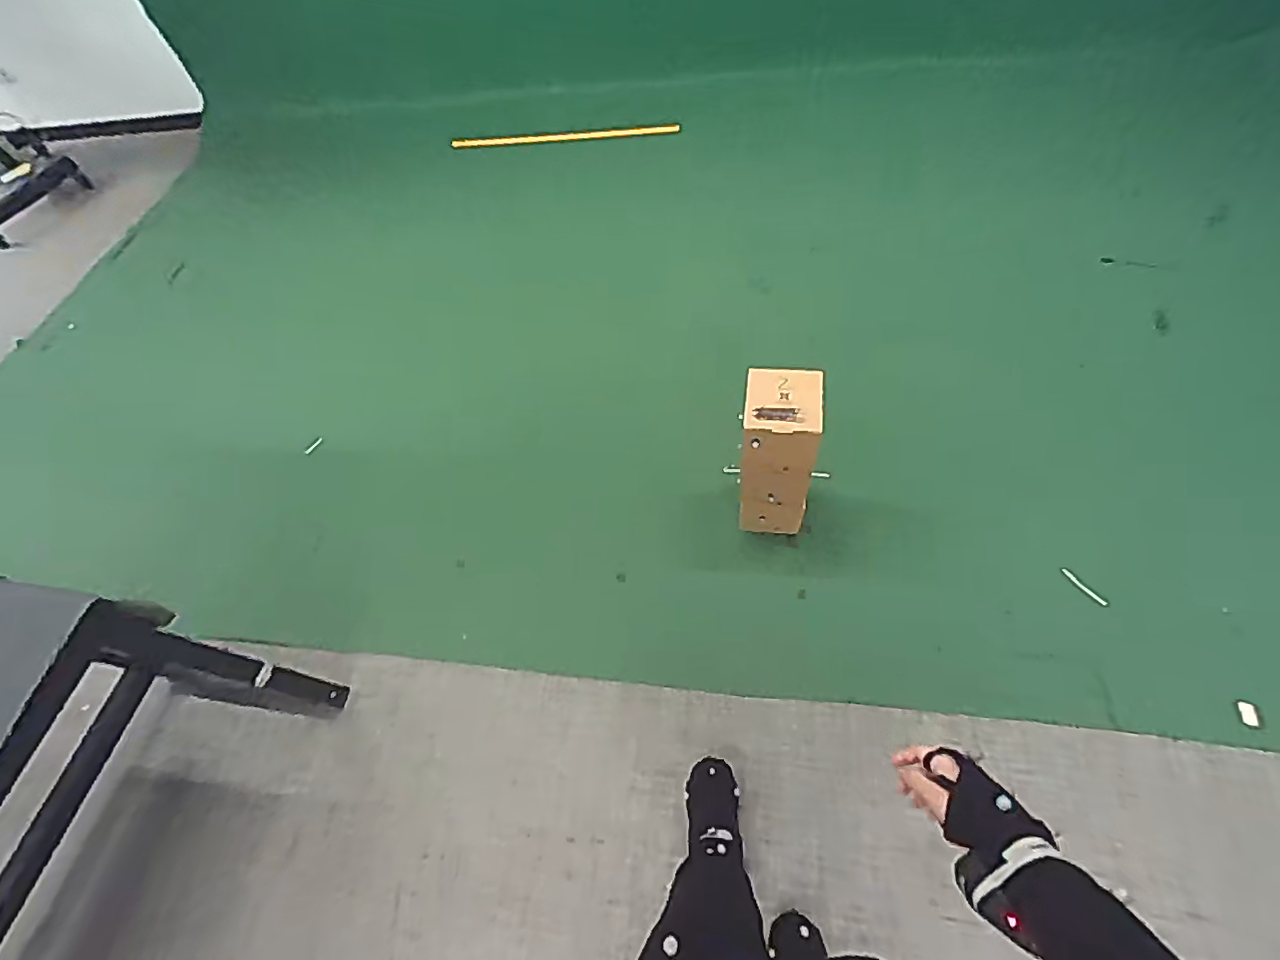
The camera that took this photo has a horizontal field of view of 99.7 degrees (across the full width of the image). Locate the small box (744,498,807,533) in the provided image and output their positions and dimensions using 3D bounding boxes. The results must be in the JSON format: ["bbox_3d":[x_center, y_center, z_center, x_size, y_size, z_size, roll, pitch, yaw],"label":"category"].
[{"bbox_3d":[0.381,0.037,1.531,0.168,0.176,0.179,2,59,11],"label":"small box"}]

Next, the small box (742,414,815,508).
[{"bbox_3d":[0.354,-0.048,1.392,0.168,0.176,0.179,4,60,13],"label":"small box"}]
